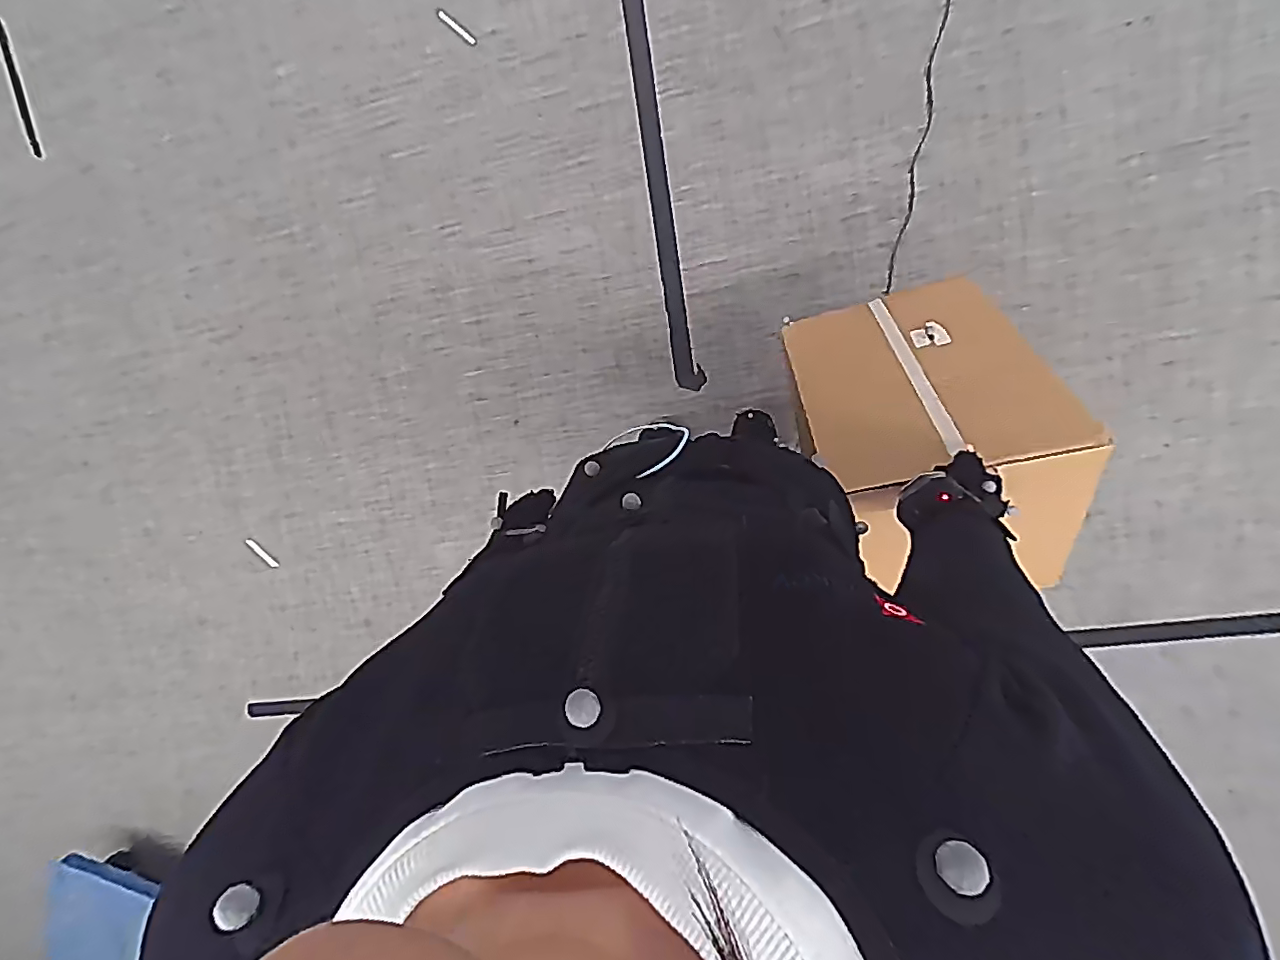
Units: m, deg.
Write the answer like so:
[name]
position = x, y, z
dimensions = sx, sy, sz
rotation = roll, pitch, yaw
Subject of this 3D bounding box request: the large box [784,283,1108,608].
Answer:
[large box]
position = 0.447, -0.056, 0.895
dimensions = 0.320, 0.408, 0.320
rotation = -11, 135, 13
